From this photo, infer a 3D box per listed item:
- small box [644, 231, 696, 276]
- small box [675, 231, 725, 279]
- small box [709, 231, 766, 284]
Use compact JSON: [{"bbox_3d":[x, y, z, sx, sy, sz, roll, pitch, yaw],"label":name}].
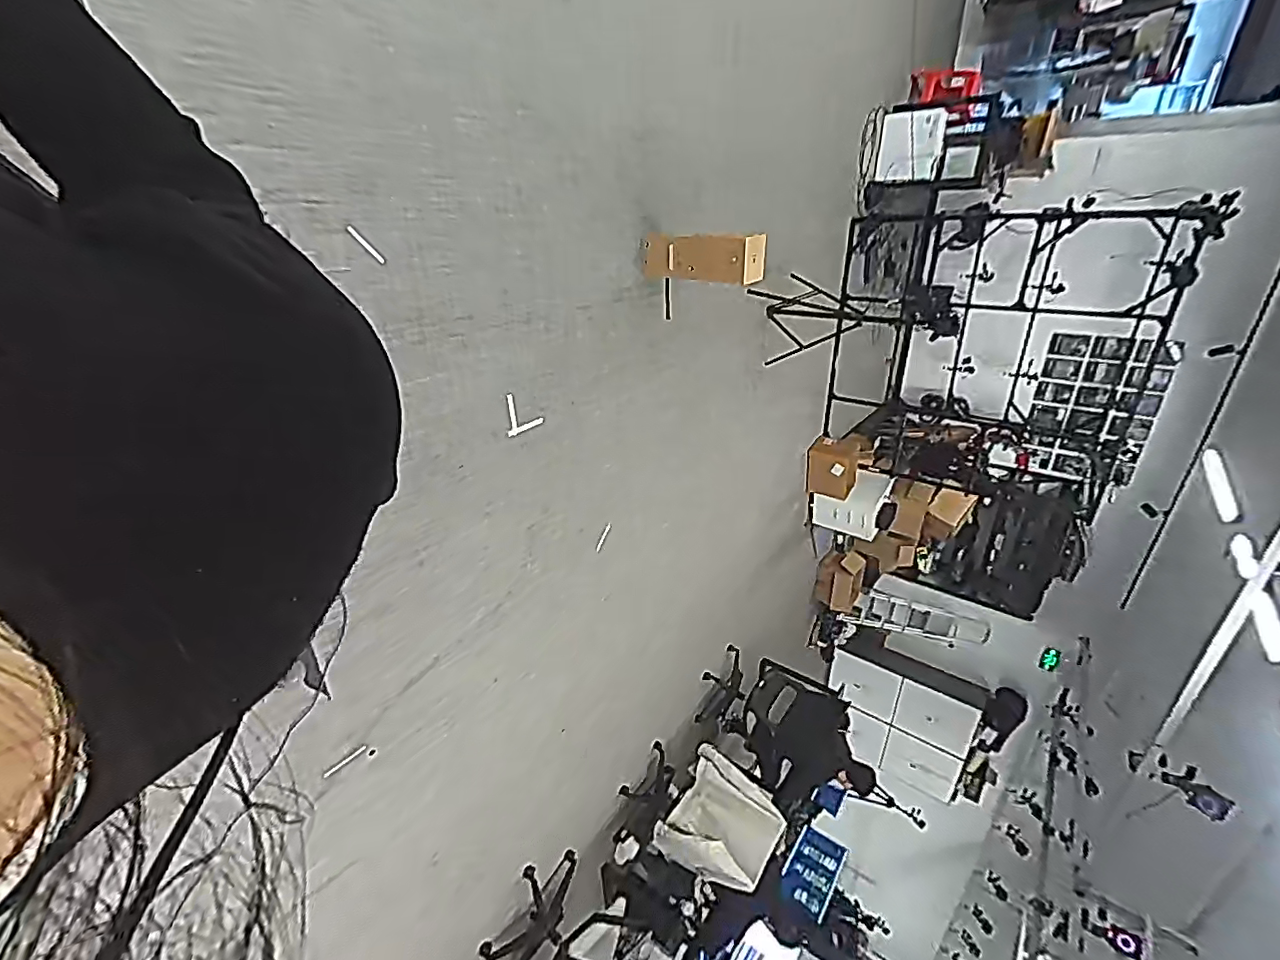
[{"bbox_3d":[0.128,-0.977,2.332,0.179,0.176,0.168,-33,130,-44],"label":"small box"},{"bbox_3d":[0.255,-0.935,2.242,0.179,0.176,0.168,-34,131,-43],"label":"small box"},{"bbox_3d":[0.384,-0.890,2.153,0.168,0.176,0.179,-33,130,-42],"label":"small box"}]
